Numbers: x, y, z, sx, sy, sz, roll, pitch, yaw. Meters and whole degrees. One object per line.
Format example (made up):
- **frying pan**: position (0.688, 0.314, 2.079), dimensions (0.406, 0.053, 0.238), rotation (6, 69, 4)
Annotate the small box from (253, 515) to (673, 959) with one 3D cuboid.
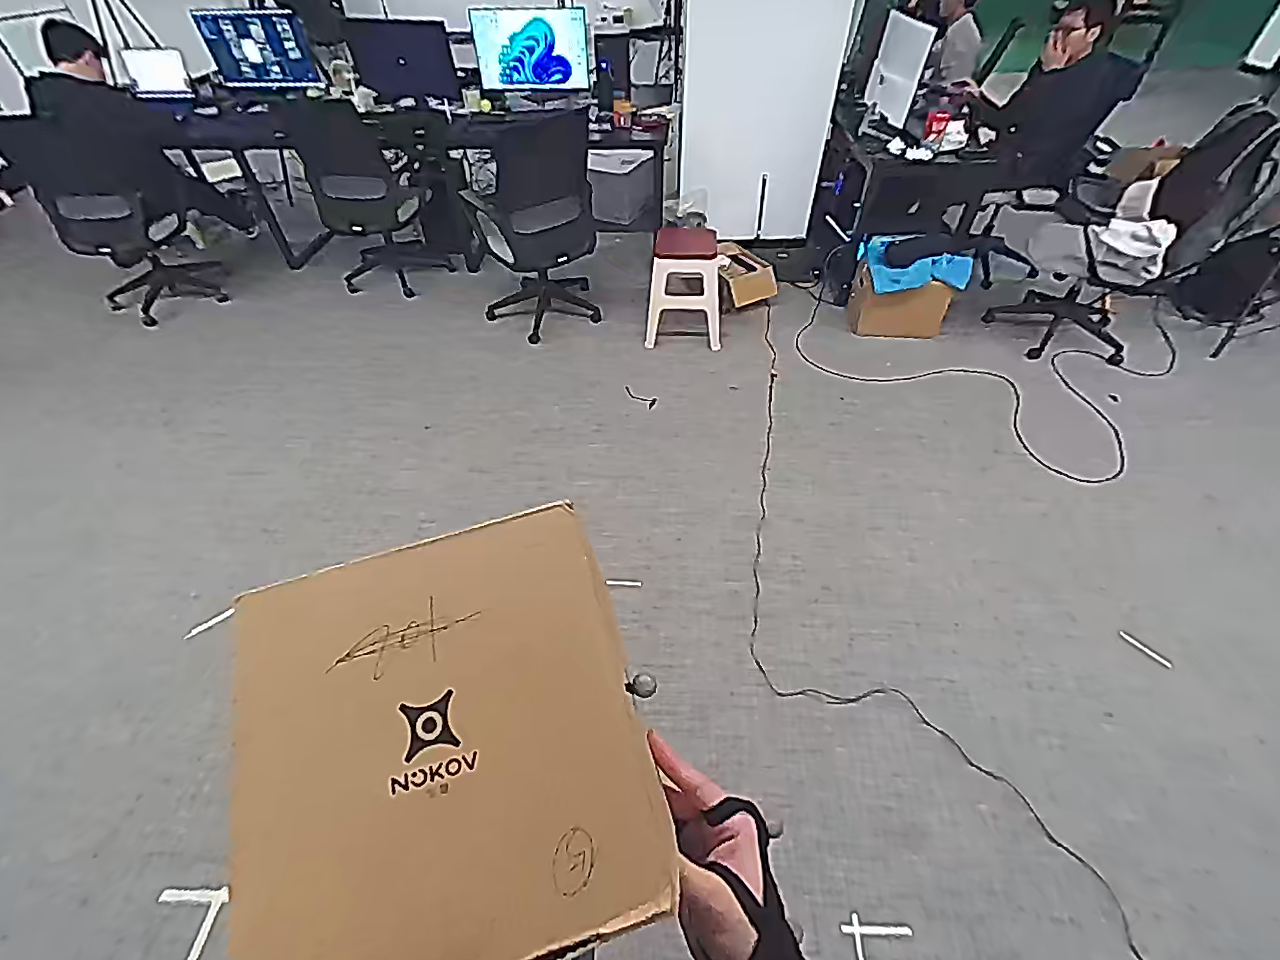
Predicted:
- **small box**: position (-0.083, 0.146, 0.311), dimensions (0.168, 0.176, 0.179), rotation (-16, 66, -6)
